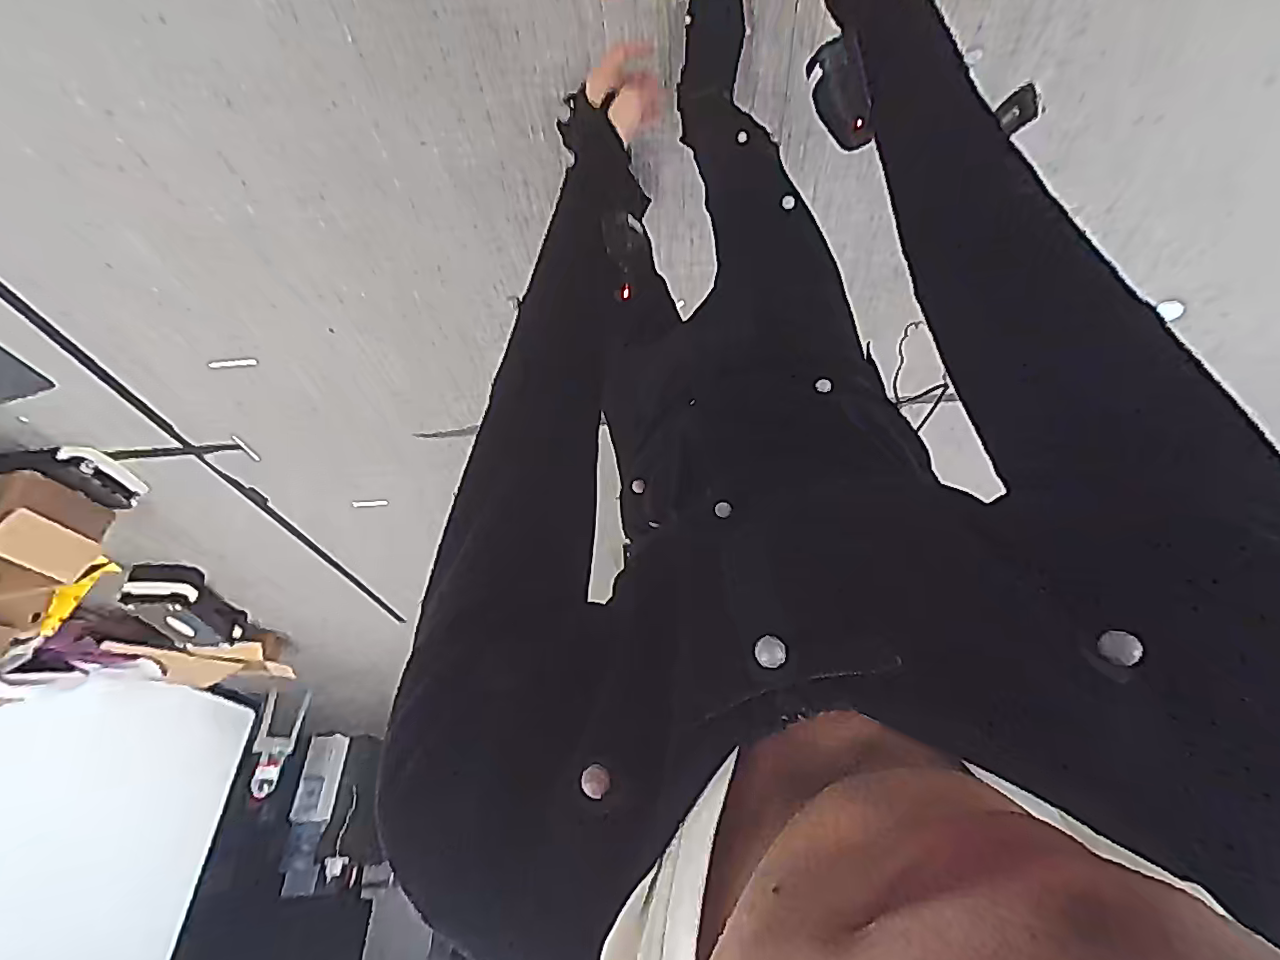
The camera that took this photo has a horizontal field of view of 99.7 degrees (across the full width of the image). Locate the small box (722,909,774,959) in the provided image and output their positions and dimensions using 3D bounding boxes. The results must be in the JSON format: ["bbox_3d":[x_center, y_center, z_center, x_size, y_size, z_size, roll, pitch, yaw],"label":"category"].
[{"bbox_3d":[0.411,1.761,2.073,0.168,0.176,0.179,-4,145,0],"label":"small box"}]
